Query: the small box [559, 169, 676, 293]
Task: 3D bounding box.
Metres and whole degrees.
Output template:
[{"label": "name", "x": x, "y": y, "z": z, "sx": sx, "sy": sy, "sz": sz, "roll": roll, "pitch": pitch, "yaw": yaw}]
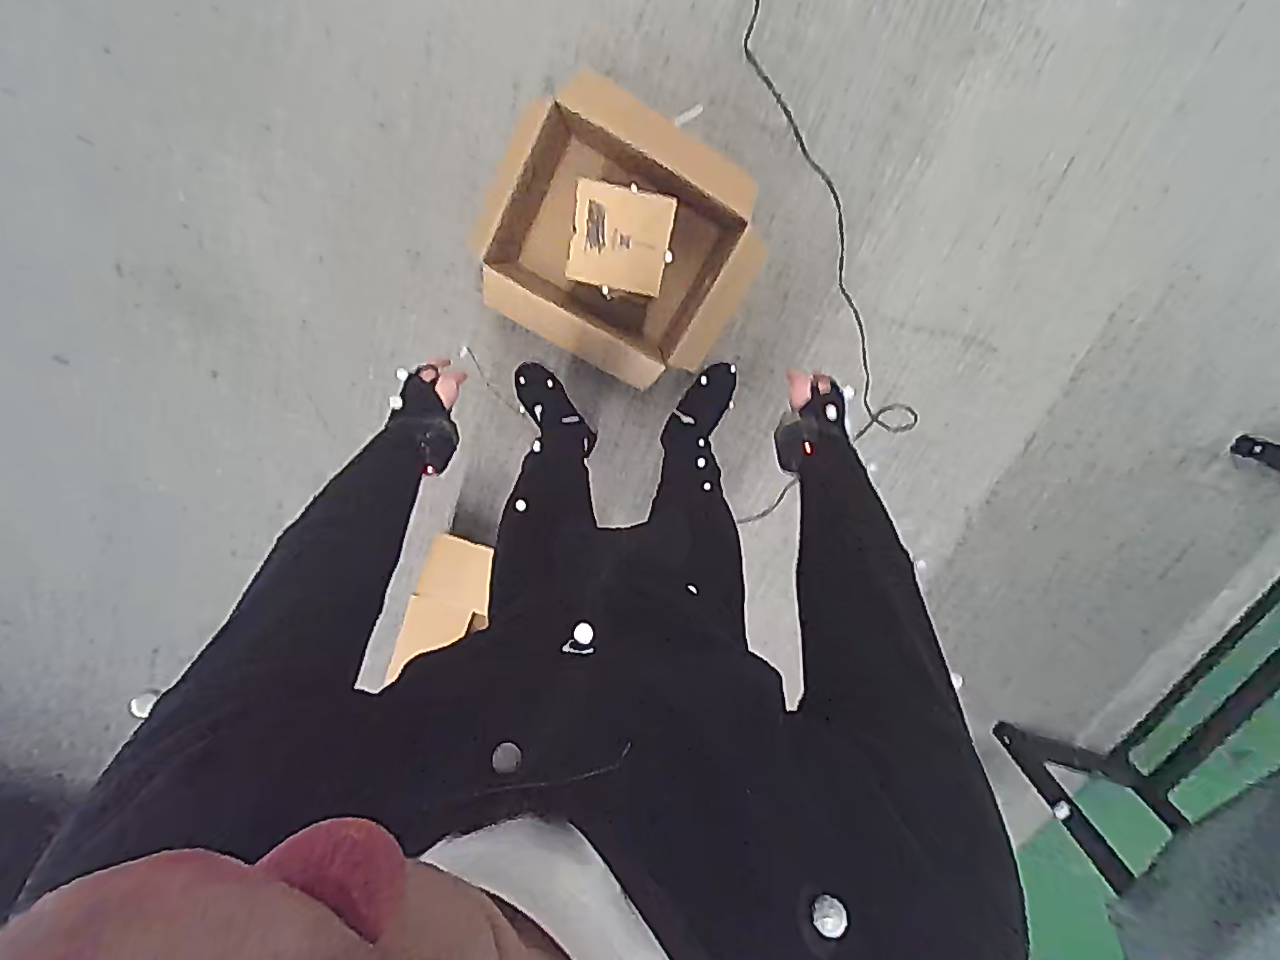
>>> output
[{"label": "small box", "x": -0.042, "y": -0.462, "z": 1.021, "sx": 0.179, "sy": 0.176, "sz": 0.168, "roll": 14, "pitch": 113, "yaw": -6}]
